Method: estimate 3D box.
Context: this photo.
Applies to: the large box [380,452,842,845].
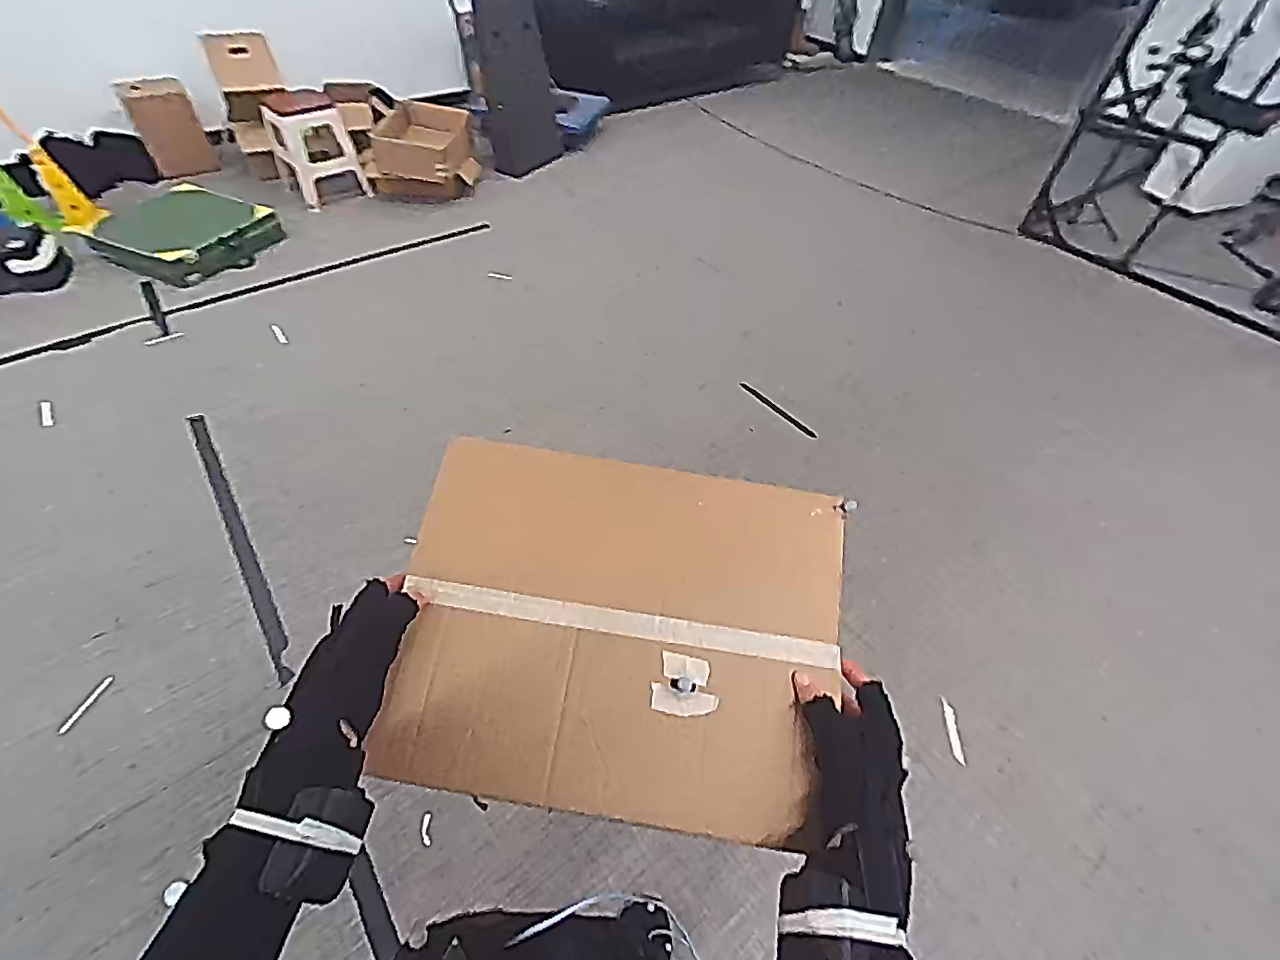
[{"bbox_3d":[-0.015,0.191,0.653,0.408,0.320,0.320,10,71,2],"label":"large box"}]
